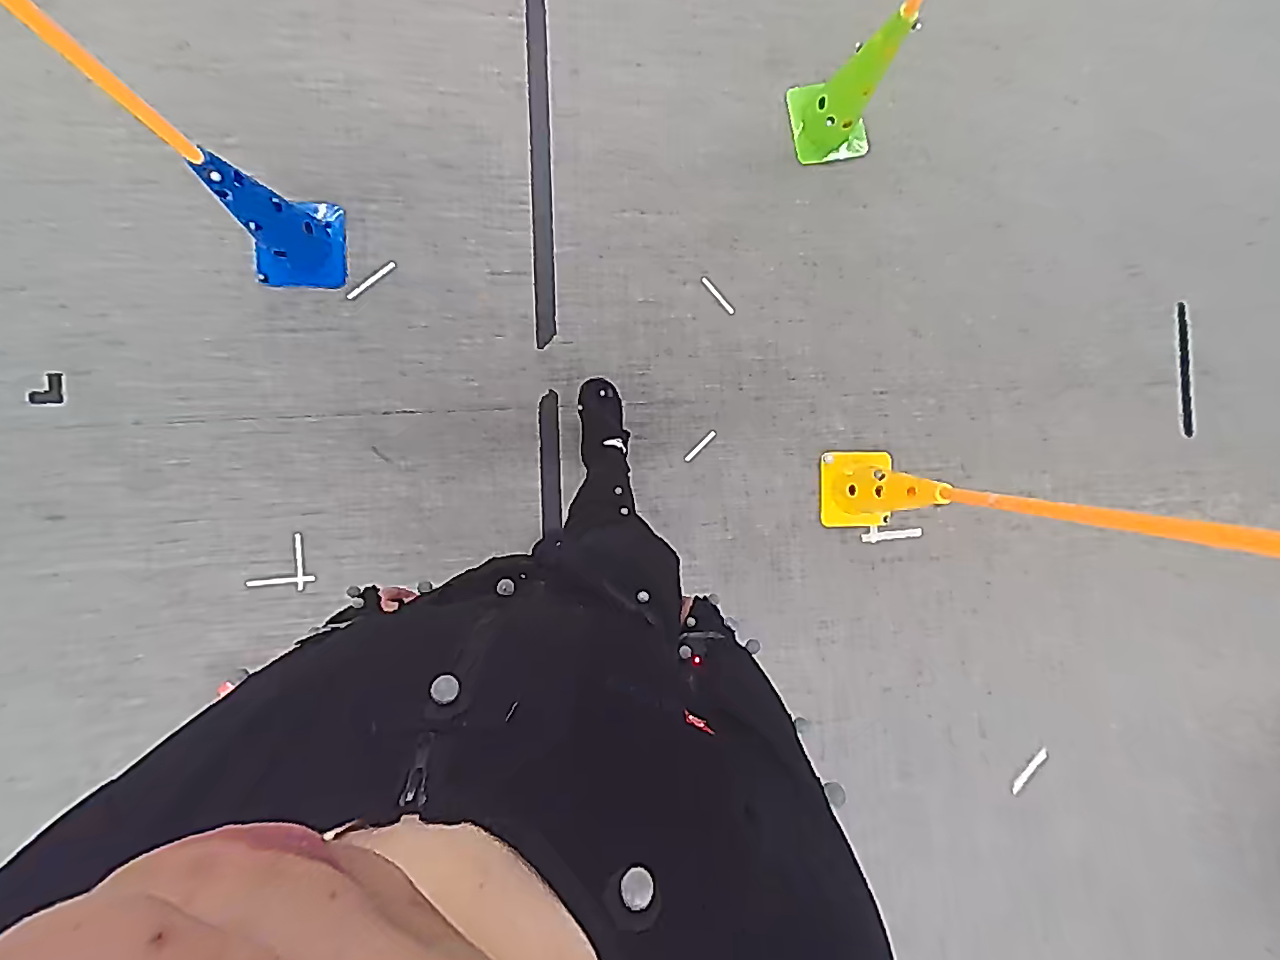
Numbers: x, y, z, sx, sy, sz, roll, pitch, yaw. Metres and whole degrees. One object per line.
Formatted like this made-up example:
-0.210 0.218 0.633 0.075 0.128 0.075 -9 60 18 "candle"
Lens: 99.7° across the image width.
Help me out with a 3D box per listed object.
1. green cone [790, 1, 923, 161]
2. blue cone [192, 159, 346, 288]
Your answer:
0.520 -0.945 1.252 0.200 0.368 0.202 -13 94 -6 "green cone"
-0.779 -0.550 1.117 0.193 0.380 0.192 1 91 -6 "blue cone"
